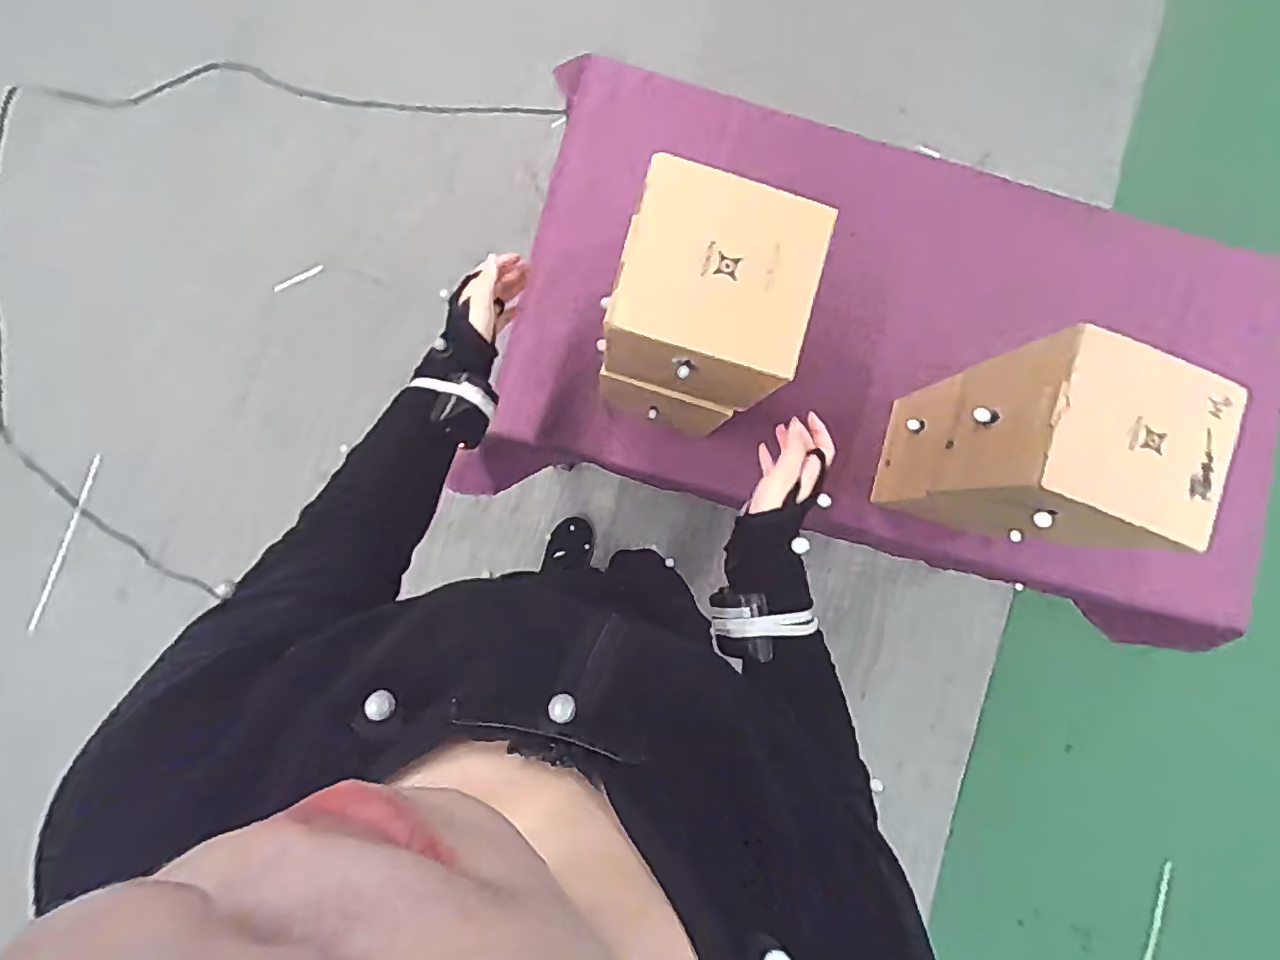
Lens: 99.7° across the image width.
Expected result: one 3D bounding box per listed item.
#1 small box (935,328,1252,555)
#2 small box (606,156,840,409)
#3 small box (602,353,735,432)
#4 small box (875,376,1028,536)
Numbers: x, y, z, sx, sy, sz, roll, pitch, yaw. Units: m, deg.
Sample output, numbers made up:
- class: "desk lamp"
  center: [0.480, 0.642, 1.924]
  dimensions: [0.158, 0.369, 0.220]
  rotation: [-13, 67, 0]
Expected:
- class: "small box"
  center: [0.457, -0.030, 0.575]
  dimensions: [0.179, 0.176, 0.168]
  rotation: [22, 86, -2]
- class: "small box"
  center: [0.071, -0.183, 0.558]
  dimensions: [0.179, 0.176, 0.168]
  rotation: [17, 87, -3]
- class: "small box"
  center: [0.055, -0.174, 0.721]
  dimensions: [0.168, 0.176, 0.179]
  rotation: [18, 86, -3]
- class: "small box"
  center: [0.454, -0.022, 0.739]
  dimensions: [0.179, 0.176, 0.168]
  rotation: [17, 86, -3]
